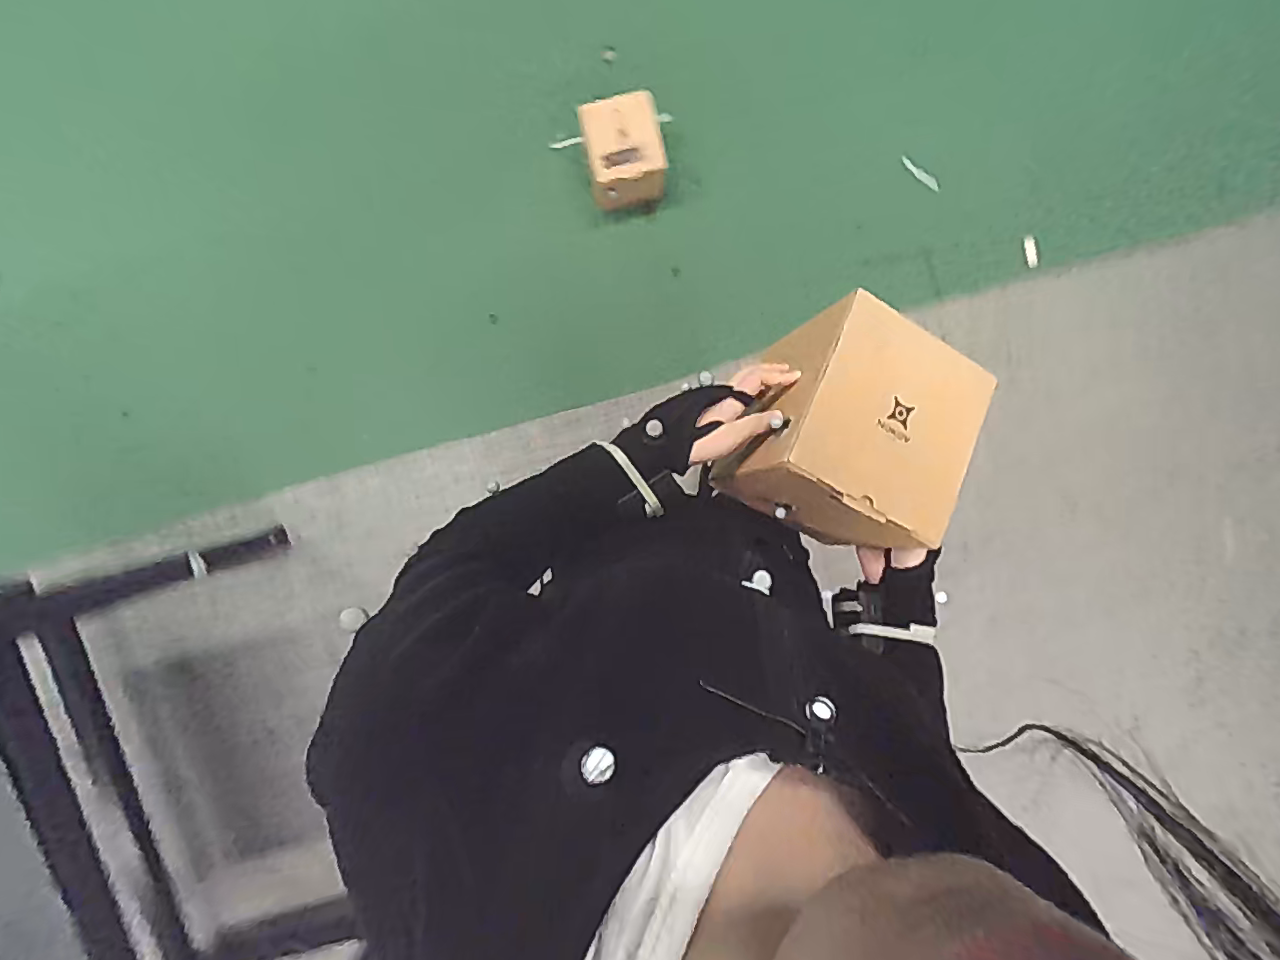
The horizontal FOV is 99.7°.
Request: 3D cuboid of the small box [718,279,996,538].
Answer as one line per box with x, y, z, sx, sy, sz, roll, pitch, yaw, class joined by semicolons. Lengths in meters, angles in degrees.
0.199;-0.054;0.535;0.168;0.176;0.179;26;79;-11;small box
